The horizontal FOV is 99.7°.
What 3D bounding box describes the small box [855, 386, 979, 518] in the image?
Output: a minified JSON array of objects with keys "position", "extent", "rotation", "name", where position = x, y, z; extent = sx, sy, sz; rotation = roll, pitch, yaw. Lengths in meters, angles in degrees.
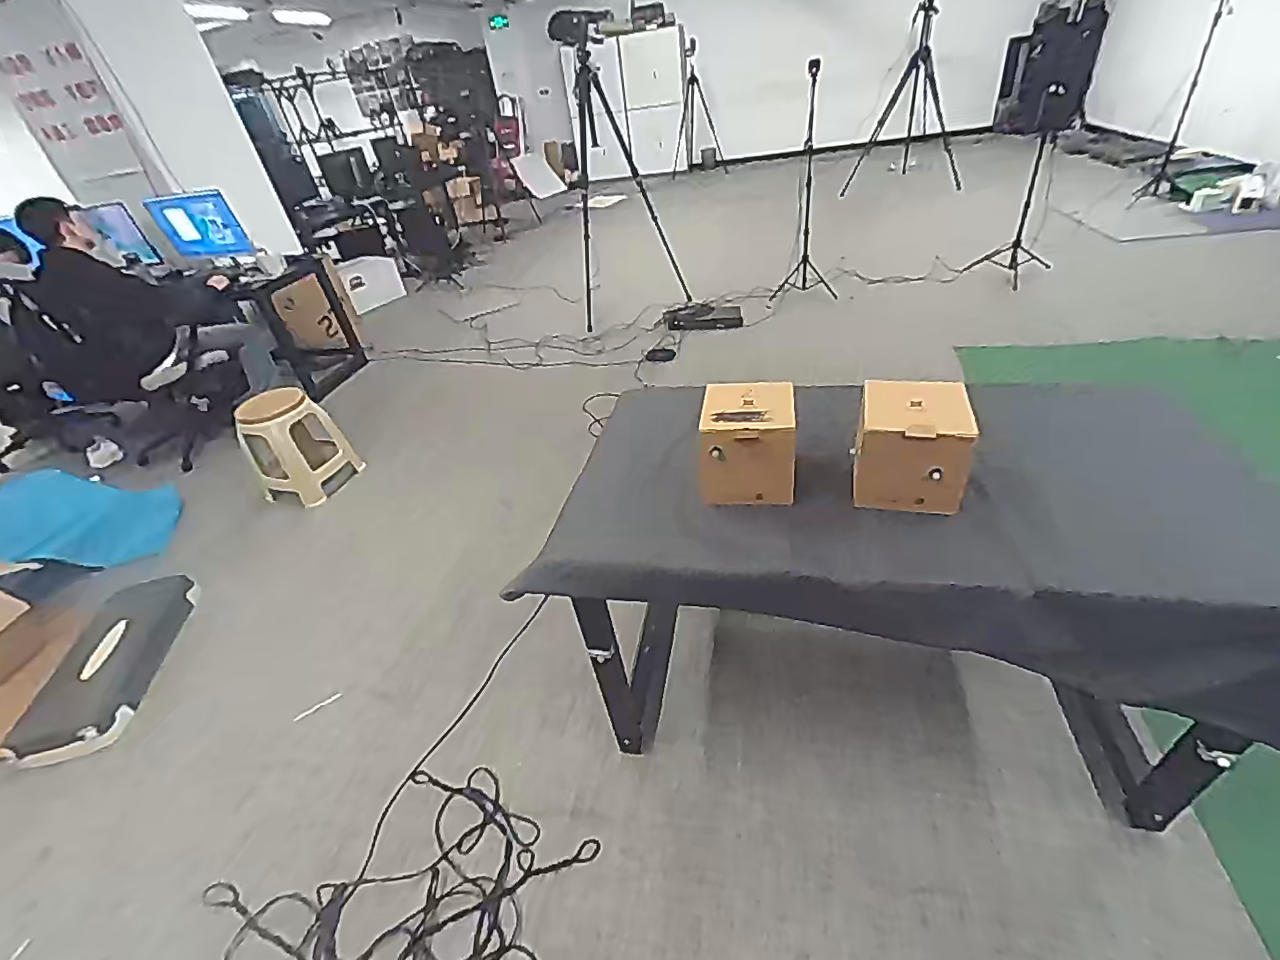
[{"position":[0.480,-0.052,0.961],"extent":[0.168,0.176,0.179],"rotation":[5,37,18],"name":"small box"}]
